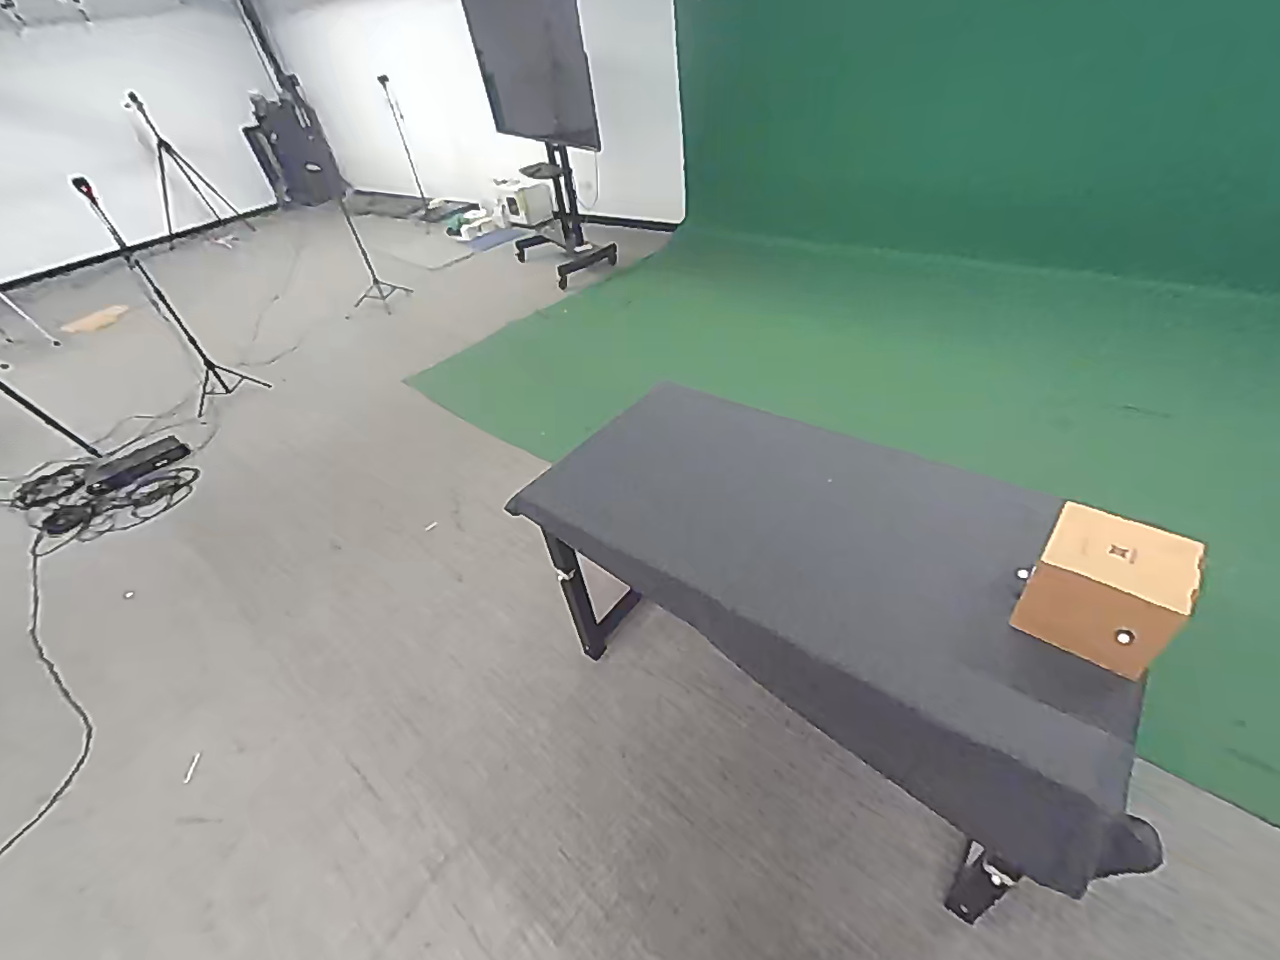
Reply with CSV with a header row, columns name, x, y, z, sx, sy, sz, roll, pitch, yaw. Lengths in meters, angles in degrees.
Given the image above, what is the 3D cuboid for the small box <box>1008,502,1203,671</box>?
name,x,y,z,sx,sy,sz,roll,pitch,yaw
small box,0.727,0.171,0.858,0.179,0.176,0.168,25,50,36
